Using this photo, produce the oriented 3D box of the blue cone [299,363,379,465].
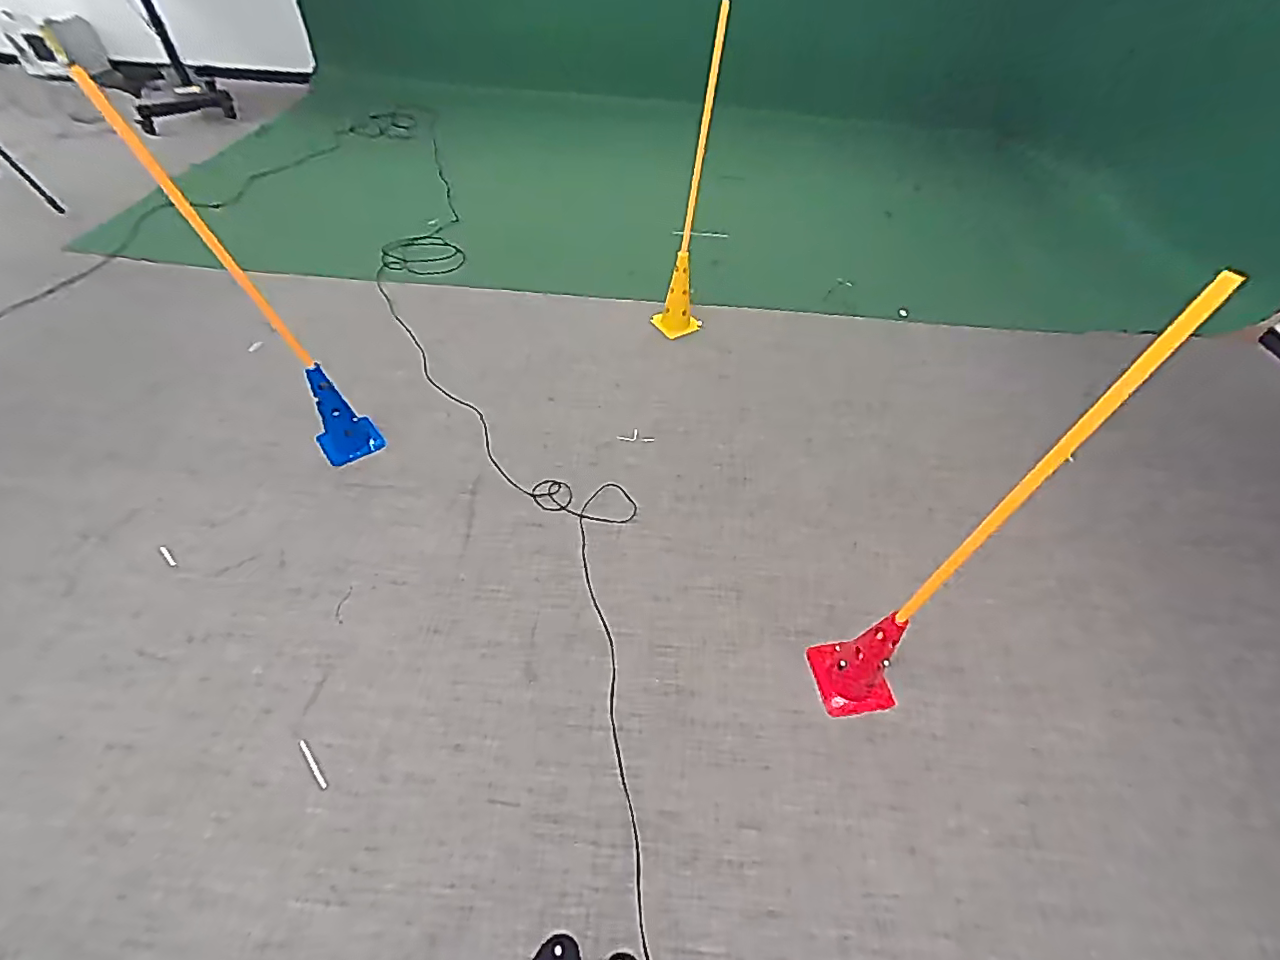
[{"bbox_3d":[-1.080,-0.244,1.880,0.193,0.380,0.192,-33,59,-25],"label":"blue cone"}]
